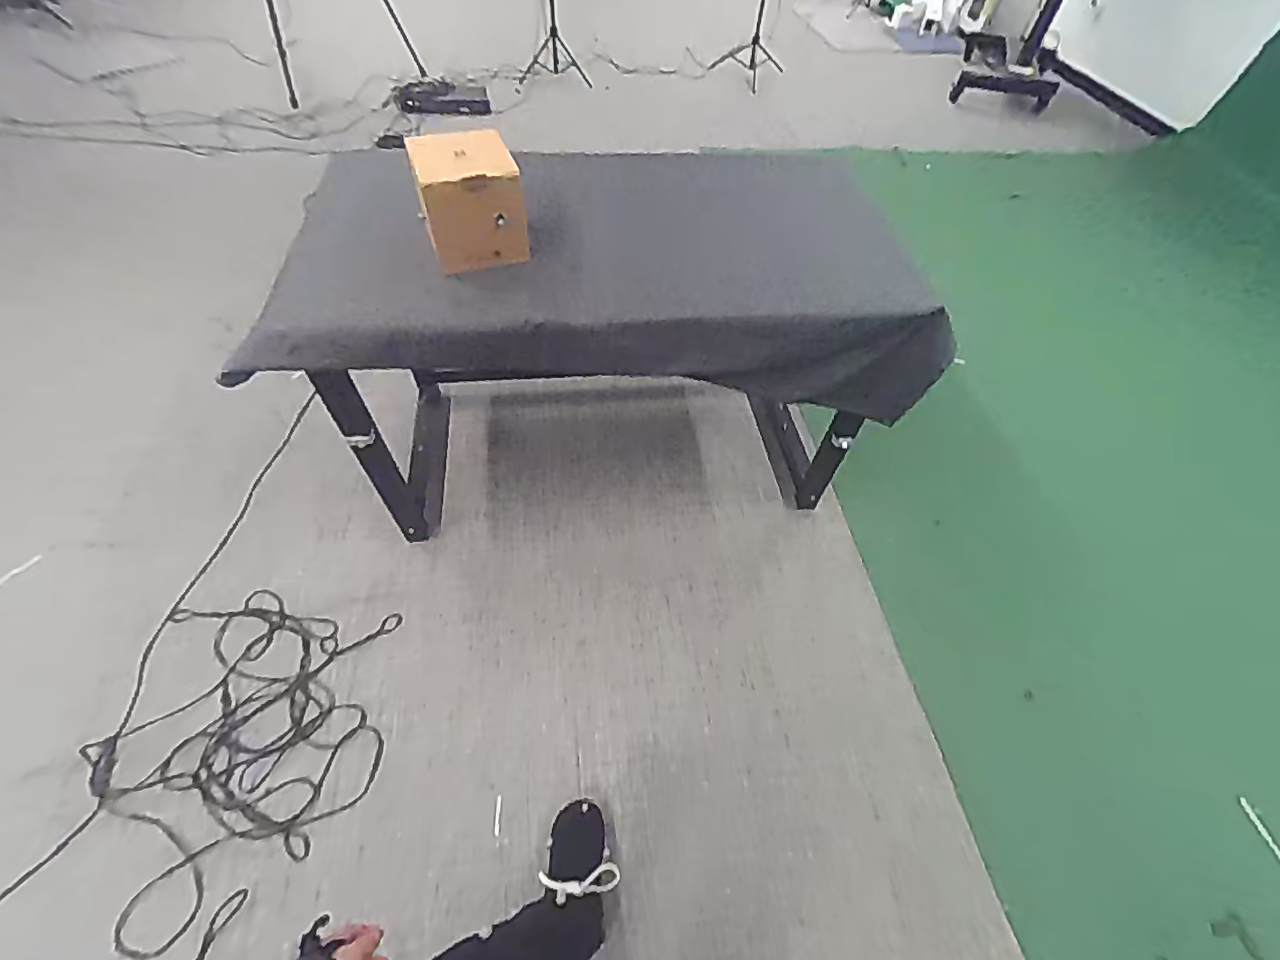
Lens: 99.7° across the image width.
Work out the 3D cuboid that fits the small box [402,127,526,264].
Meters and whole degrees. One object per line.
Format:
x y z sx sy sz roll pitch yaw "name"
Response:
-0.314 -0.510 0.983 0.168 0.176 0.179 -17 56 -18 "small box"
